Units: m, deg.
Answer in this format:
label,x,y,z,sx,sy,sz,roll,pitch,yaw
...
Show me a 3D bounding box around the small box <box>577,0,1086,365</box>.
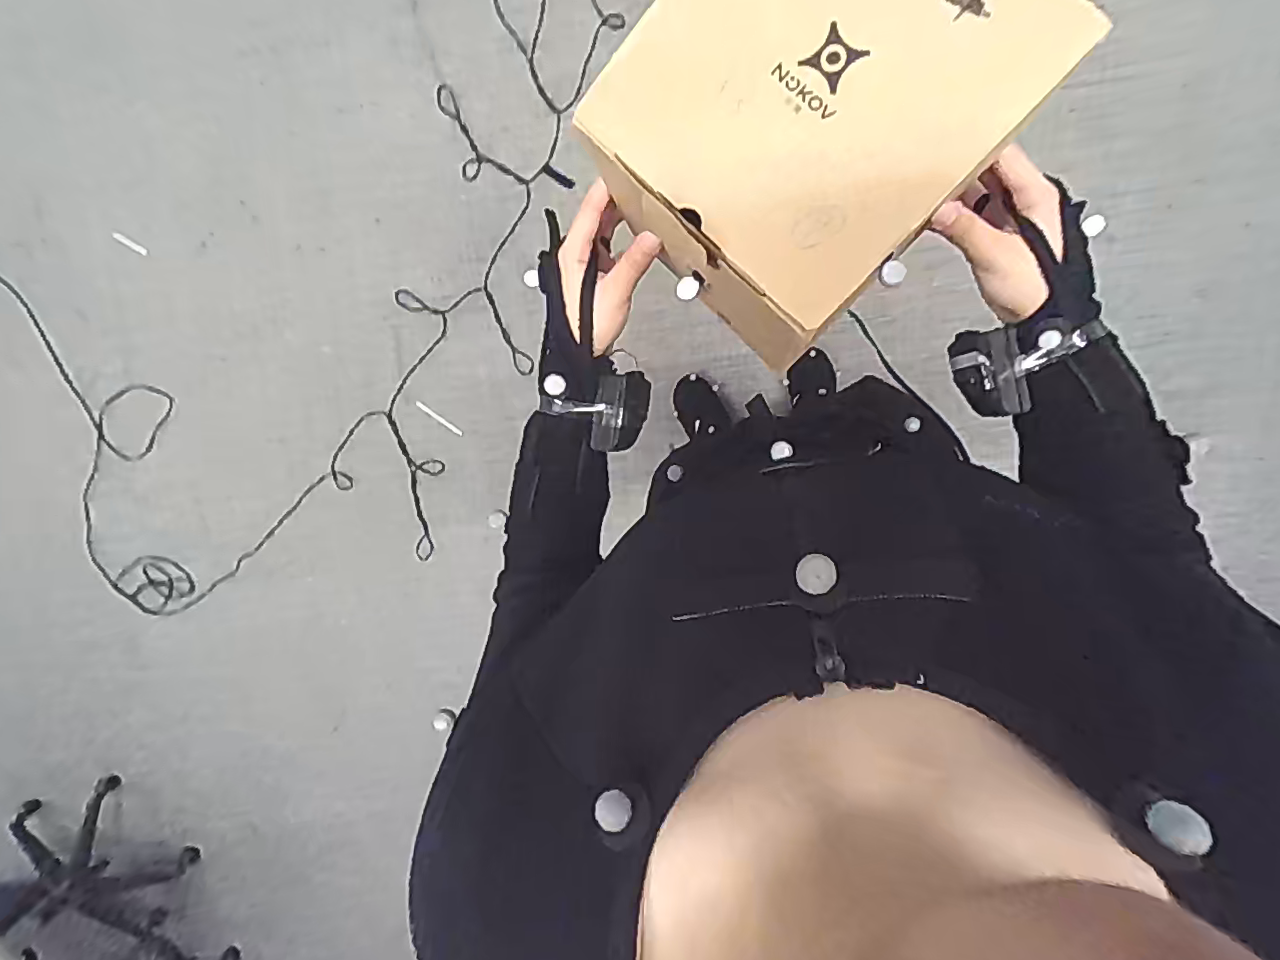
label,x,y,z,sx,sy,sz,roll,pitch,yaw
small box,0.096,-0.191,0.334,0.168,0.176,0.179,45,102,4
